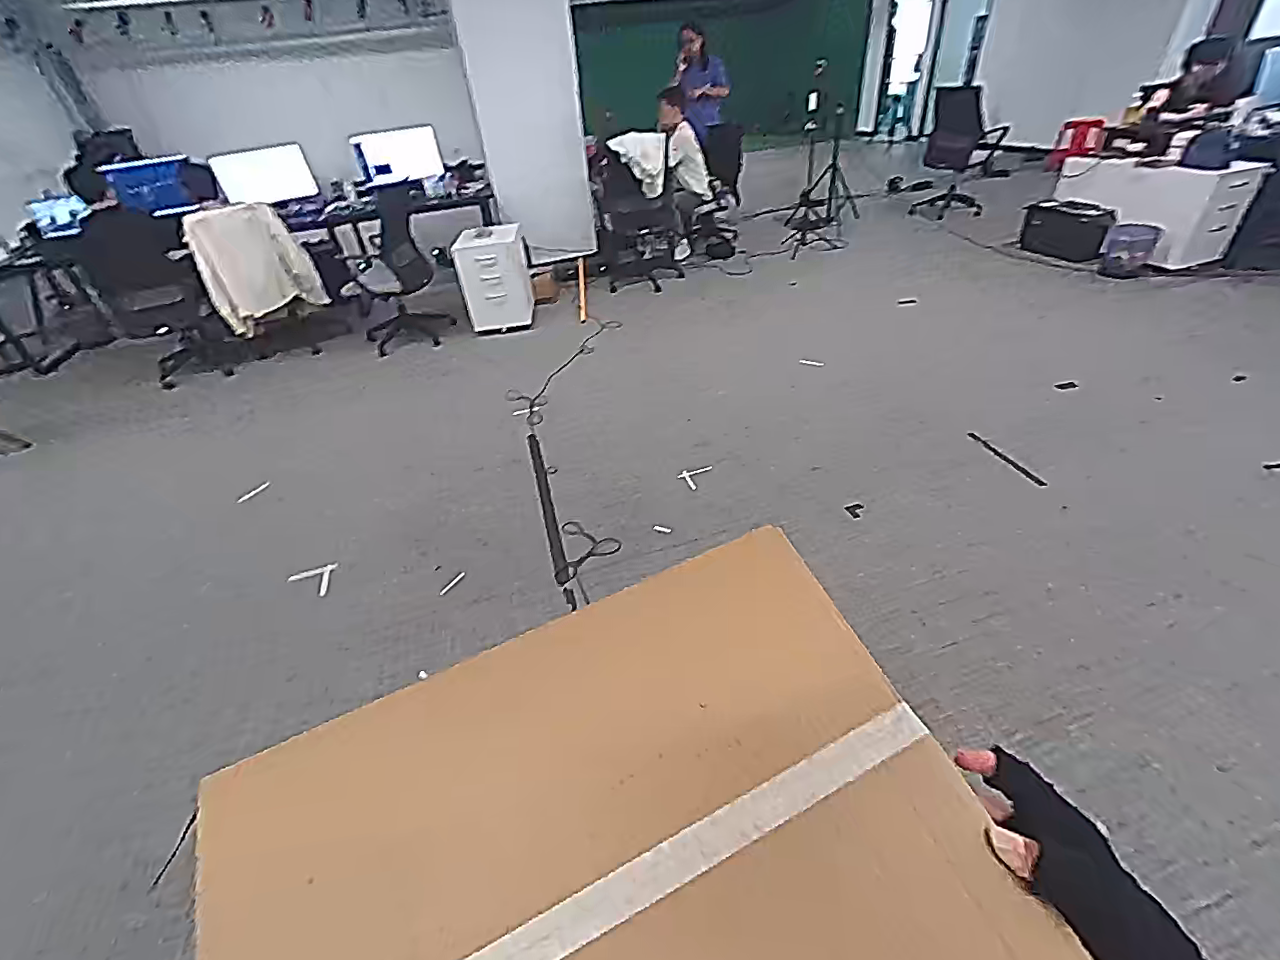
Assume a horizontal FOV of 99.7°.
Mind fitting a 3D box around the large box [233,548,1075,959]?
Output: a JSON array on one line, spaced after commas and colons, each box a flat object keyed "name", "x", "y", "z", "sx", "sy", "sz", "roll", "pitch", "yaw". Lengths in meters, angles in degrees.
[{"name": "large box", "x": 0.001, "y": 0.318, "z": 0.415, "sx": 0.408, "sy": 0.320, "sz": 0.320, "roll": -22, "pitch": 56, "yaw": -12}]
